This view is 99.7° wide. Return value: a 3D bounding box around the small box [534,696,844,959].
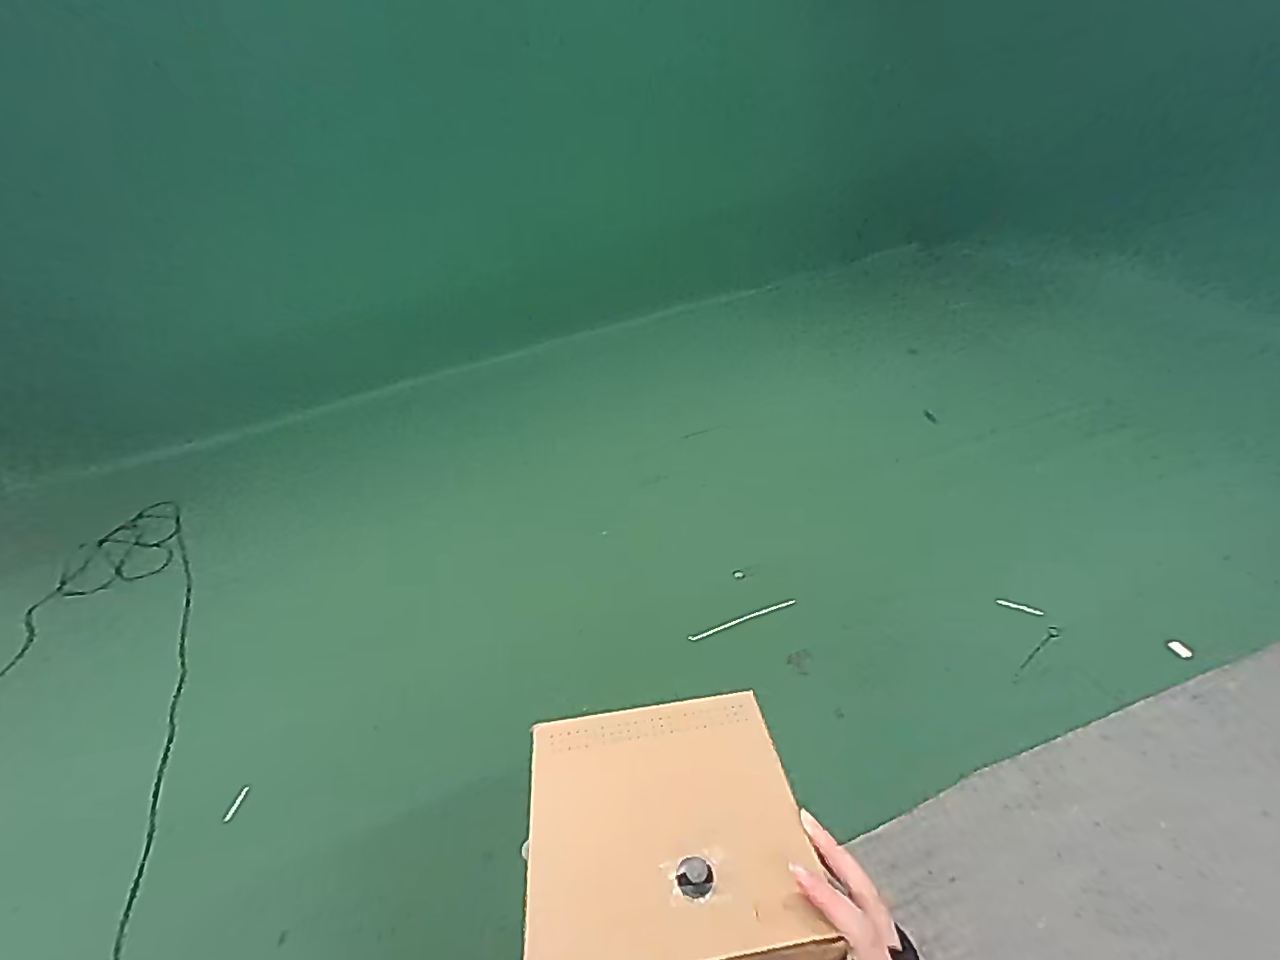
[{"bbox_3d":[0.020,0.282,0.395,0.179,0.168,0.176,-6,28,-4],"label":"small box"}]
